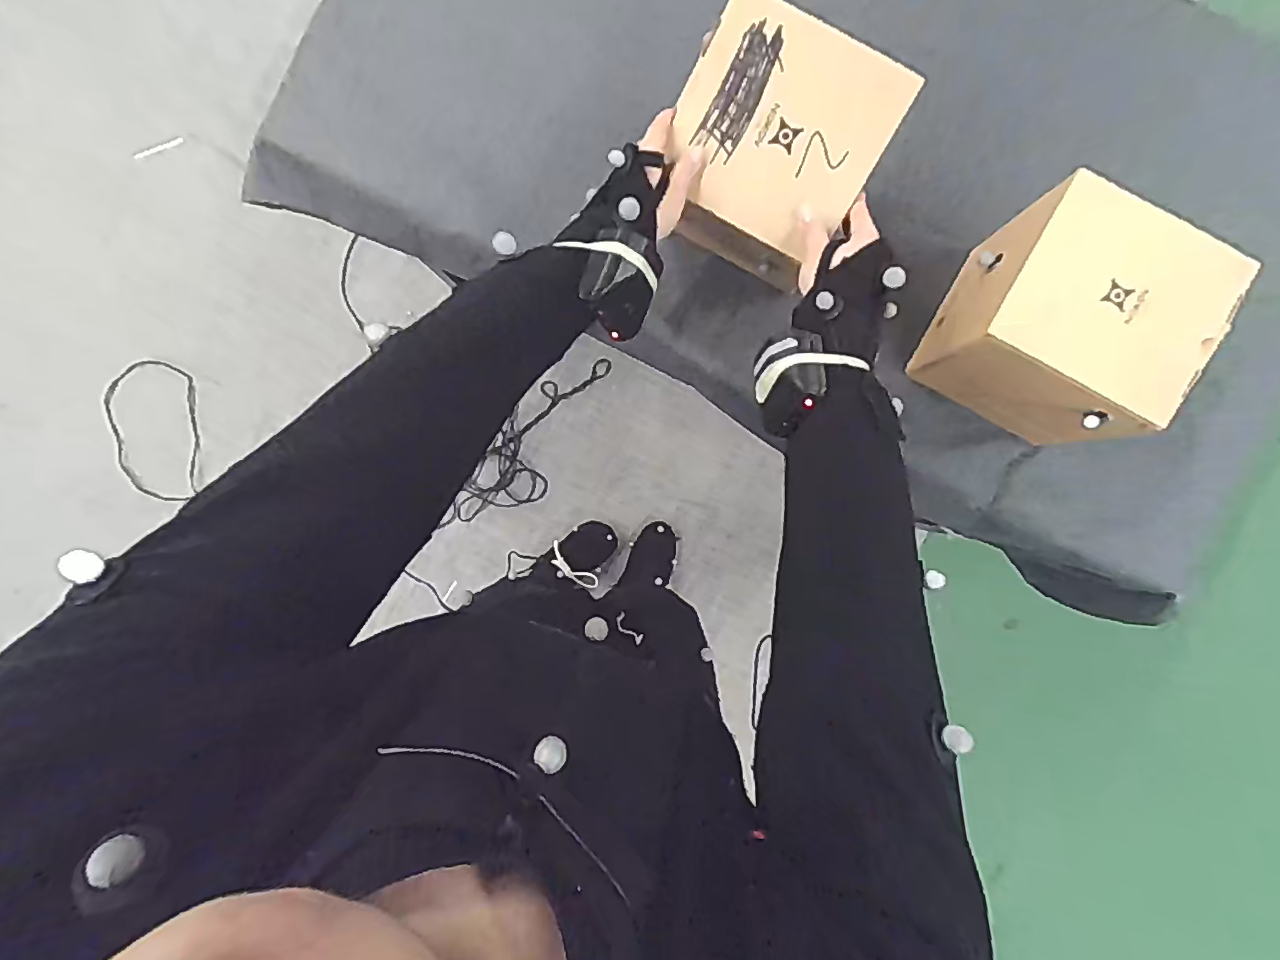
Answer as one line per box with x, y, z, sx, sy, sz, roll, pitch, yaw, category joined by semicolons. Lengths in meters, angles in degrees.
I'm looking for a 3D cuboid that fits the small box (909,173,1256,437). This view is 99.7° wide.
0.413;-0.153;0.543;0.179;0.176;0.168;29;91;2;small box
